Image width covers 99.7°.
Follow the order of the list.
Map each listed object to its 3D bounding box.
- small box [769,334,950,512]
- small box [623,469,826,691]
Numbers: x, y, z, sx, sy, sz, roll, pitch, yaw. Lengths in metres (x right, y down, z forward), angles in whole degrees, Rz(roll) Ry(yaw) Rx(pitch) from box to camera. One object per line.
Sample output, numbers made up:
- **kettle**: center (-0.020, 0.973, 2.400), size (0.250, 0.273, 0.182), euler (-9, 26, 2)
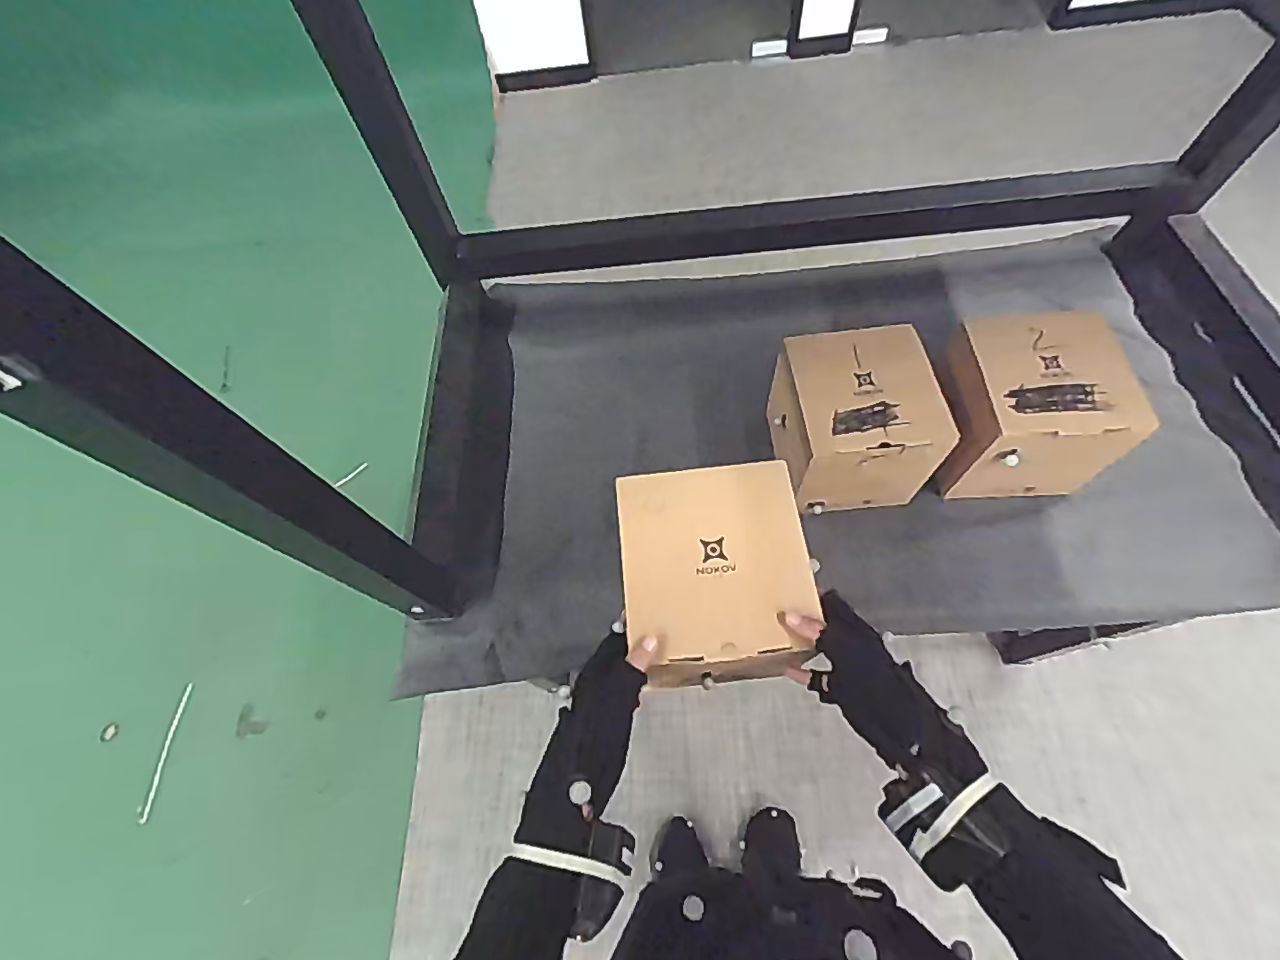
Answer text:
- **small box**: center (0.277, -0.067, 0.727), size (0.168, 0.176, 0.179), euler (-6, 61, 3)
- **small box**: center (0.073, 0.110, 0.564), size (0.168, 0.176, 0.179), euler (-7, 61, 1)
